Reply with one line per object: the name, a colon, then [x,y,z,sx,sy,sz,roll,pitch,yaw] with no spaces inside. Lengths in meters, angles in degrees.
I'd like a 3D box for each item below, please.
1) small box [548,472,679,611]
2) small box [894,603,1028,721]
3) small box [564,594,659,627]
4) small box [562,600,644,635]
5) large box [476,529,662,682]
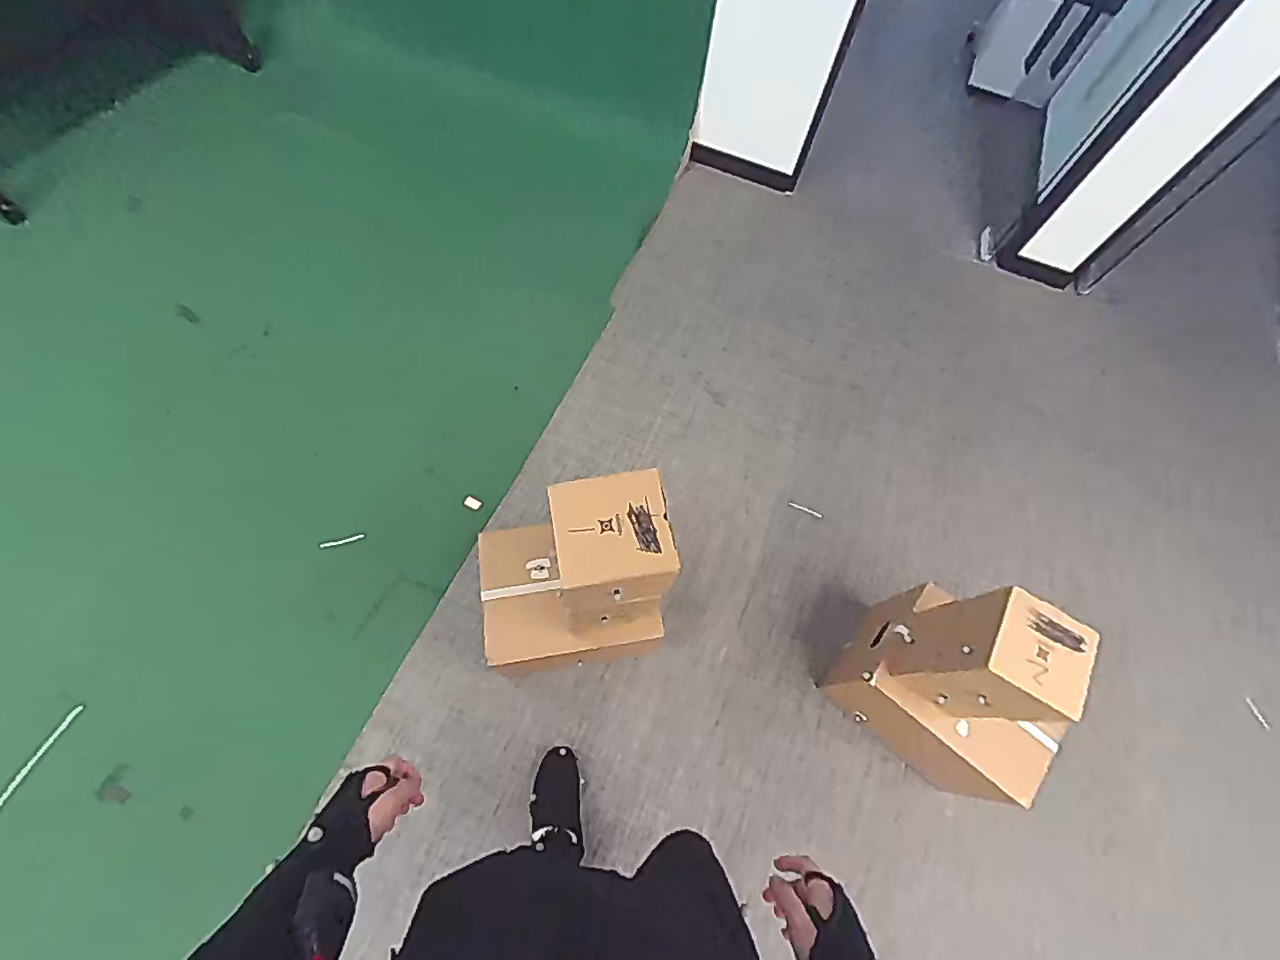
small box: [-0.048,0.104,0.873,0.179,0.176,0.168,-9,66,-7]
small box: [0.682,0.397,1.169,0.168,0.176,0.179,32,67,9]
small box: [-0.065,0.168,1.022,0.168,0.176,0.179,-7,67,-8]
small box: [-0.083,0.230,1.171,0.179,0.176,0.168,-8,66,-9]
large box: [-0.181,0.316,1.395,0.408,0.320,0.320,-8,65,-8]
